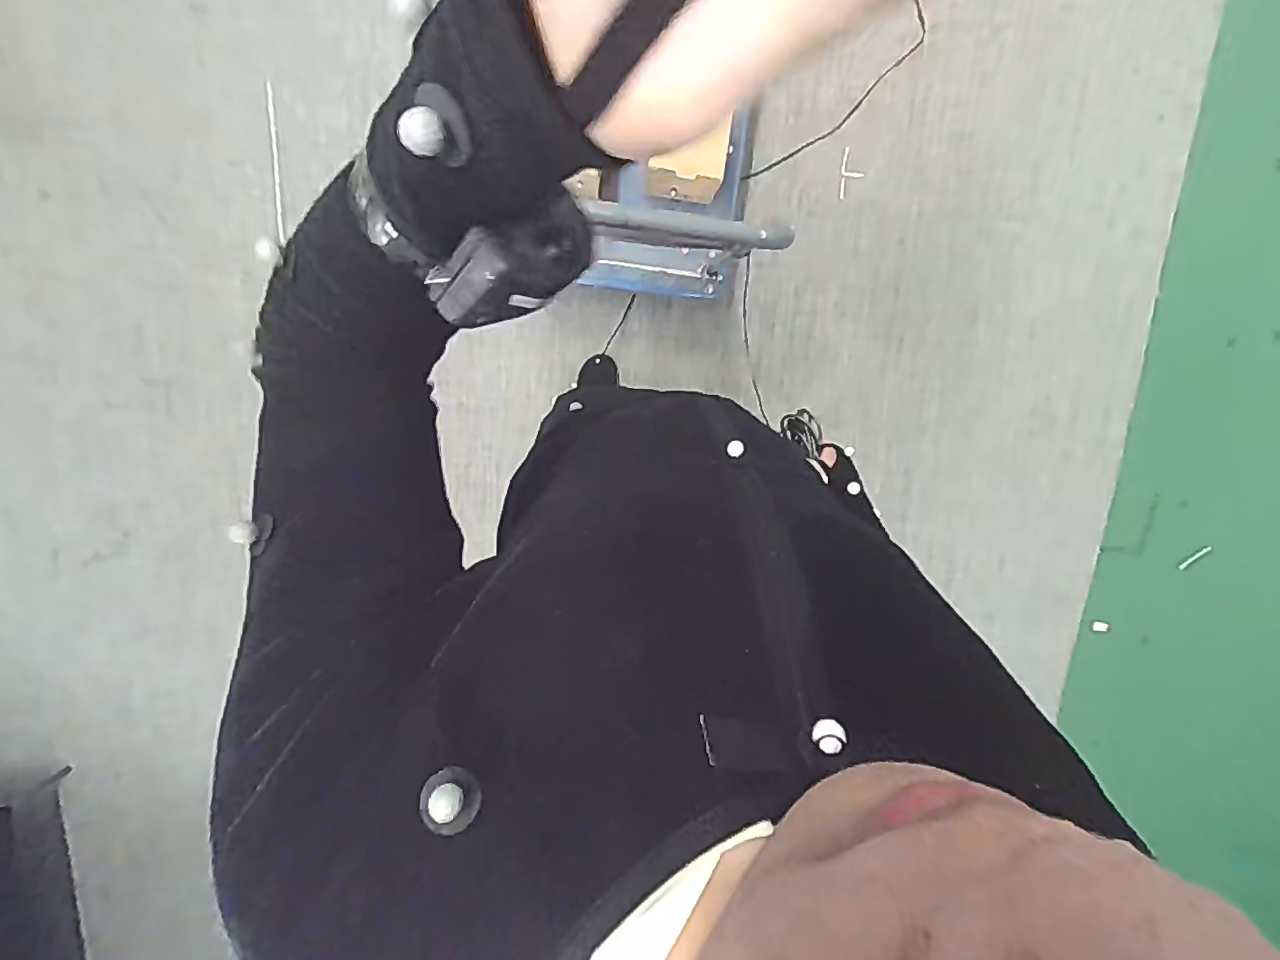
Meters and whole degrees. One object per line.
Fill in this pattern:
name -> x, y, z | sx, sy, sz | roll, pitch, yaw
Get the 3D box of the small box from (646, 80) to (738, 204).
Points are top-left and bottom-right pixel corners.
small box -> 0.108, -0.752, 1.219 | 0.168, 0.176, 0.179 | 7, 102, -5

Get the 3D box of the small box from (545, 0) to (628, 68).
small box -> -0.109, -1.019, 1.149 | 0.168, 0.176, 0.179 | 2, 102, -5
